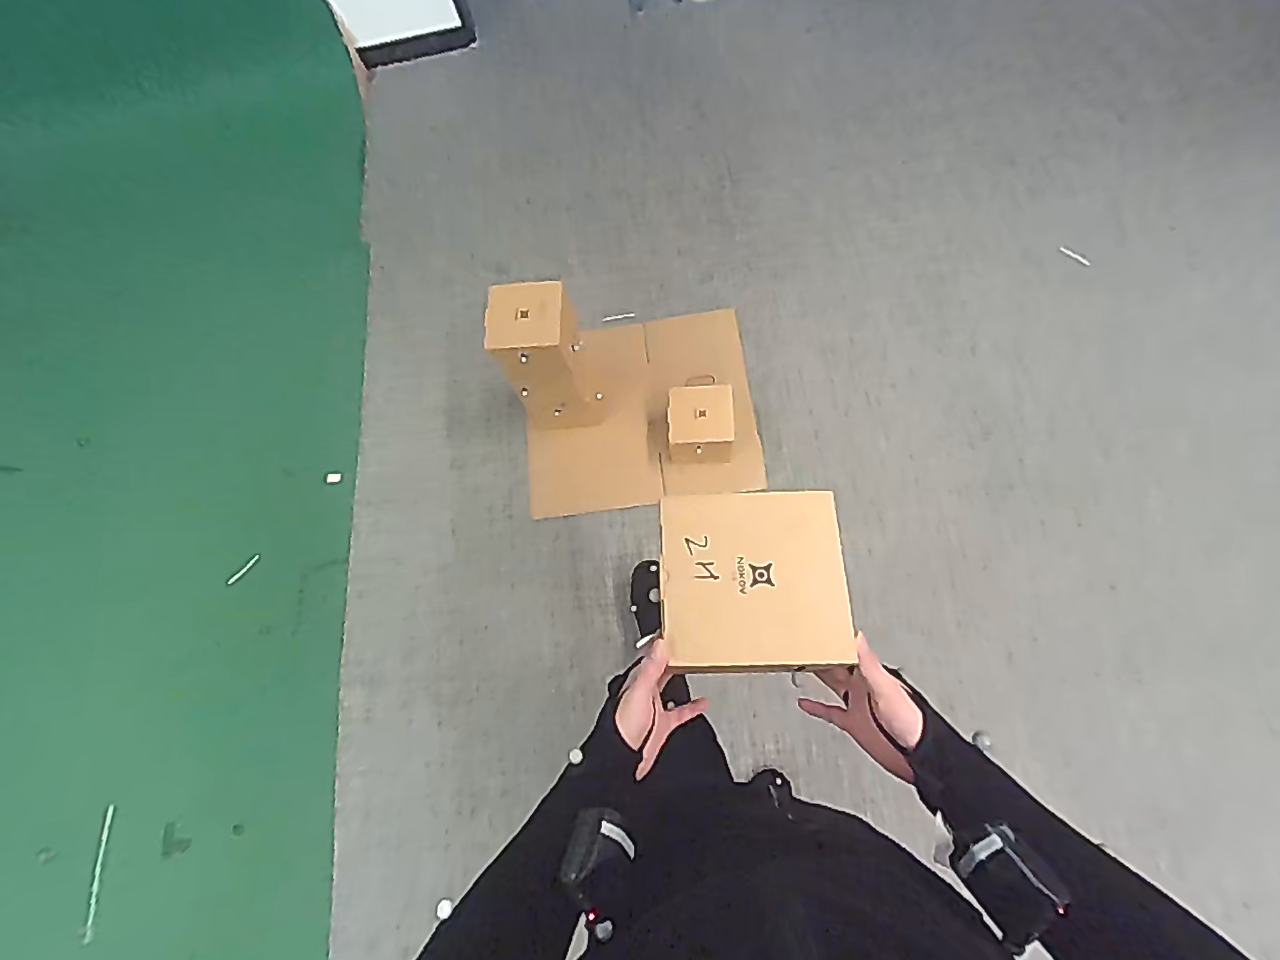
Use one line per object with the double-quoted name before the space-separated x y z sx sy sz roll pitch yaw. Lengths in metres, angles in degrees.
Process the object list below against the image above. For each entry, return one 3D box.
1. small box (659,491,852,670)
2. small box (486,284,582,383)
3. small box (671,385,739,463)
"small box" 0.111 0.117 0.594 0.179 0.176 0.168 -2 68 5
"small box" -0.246 -0.342 1.291 0.179 0.176 0.168 -2 73 7
"small box" 0.182 -0.153 1.523 0.179 0.176 0.168 -3 72 8
